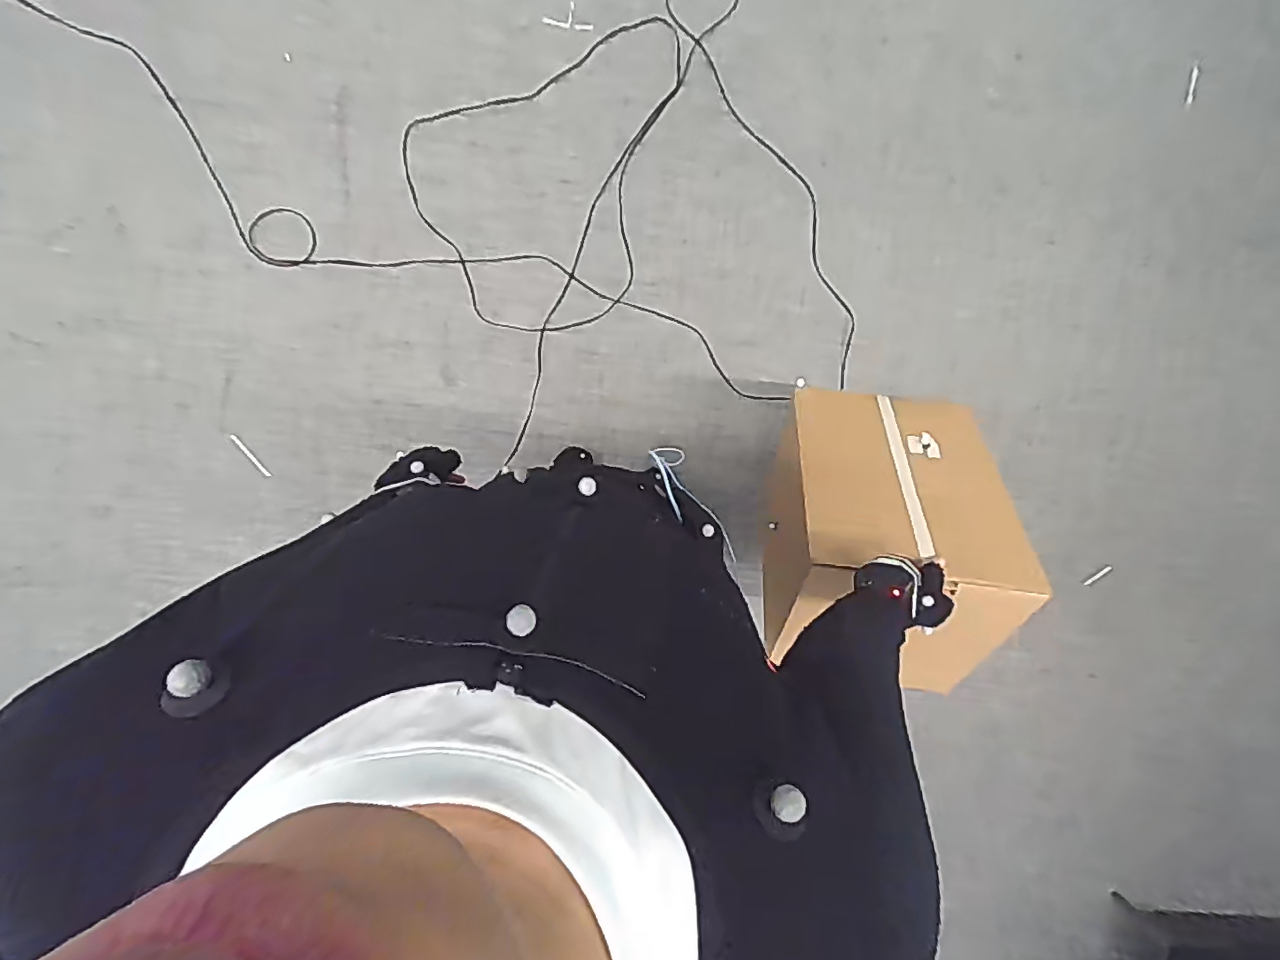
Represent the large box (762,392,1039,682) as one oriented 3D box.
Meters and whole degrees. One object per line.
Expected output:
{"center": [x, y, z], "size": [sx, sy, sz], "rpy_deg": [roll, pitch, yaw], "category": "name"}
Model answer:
{"center": [0.405, 0.095, 0.973], "size": [0.320, 0.408, 0.320], "rpy_deg": [8, 135, 3], "category": "large box"}
